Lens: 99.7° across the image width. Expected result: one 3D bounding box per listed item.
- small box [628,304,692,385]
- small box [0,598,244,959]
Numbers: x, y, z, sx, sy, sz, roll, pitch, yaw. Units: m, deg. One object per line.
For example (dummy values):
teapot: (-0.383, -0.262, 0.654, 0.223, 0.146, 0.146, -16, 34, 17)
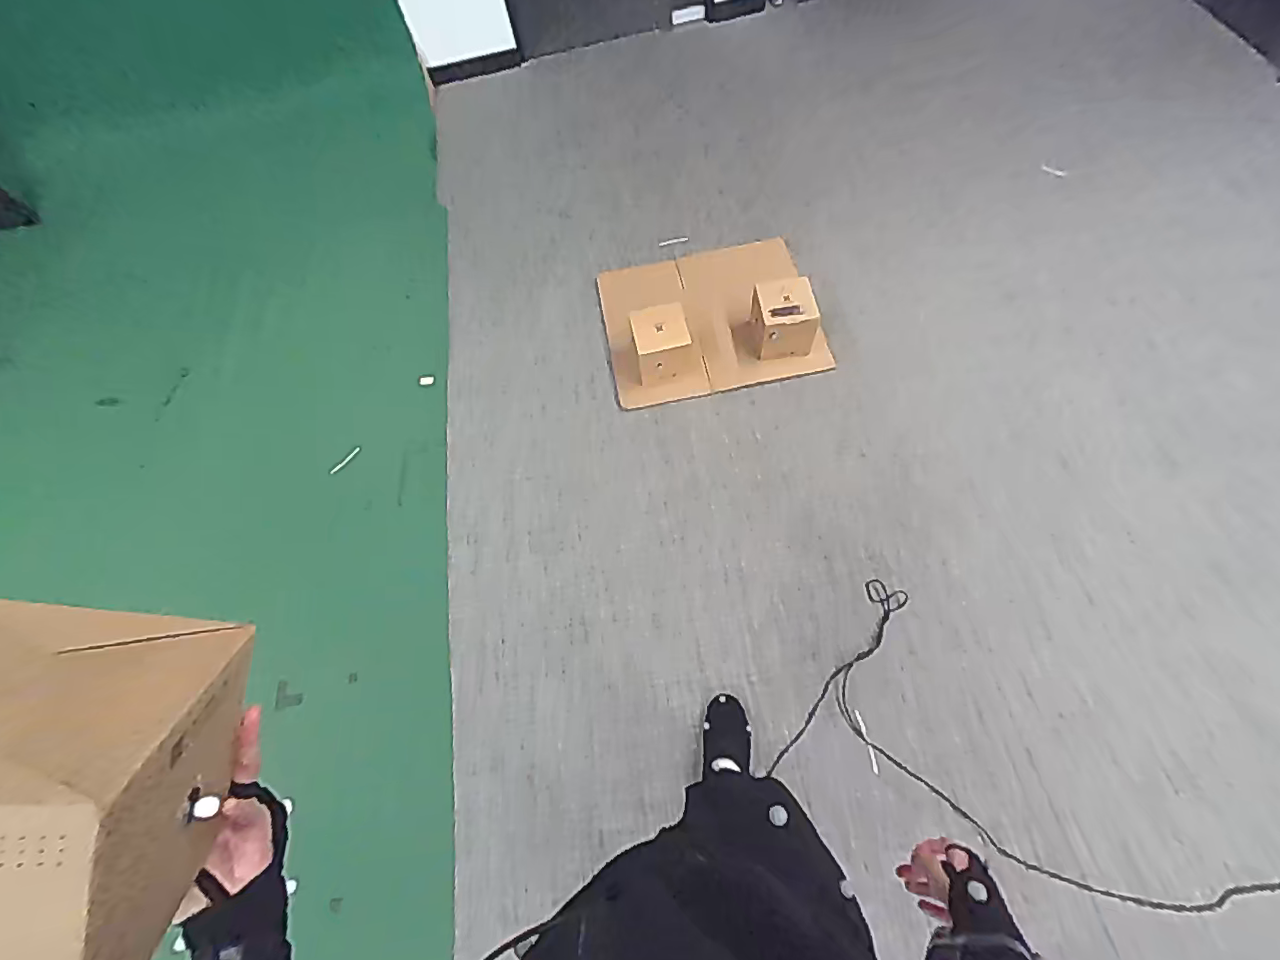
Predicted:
small box: (0.066, -0.418, 1.709, 0.168, 0.176, 0.179, -13, 62, 0)
small box: (-0.338, 0.174, 0.283, 0.179, 0.168, 0.176, 12, 99, -19)
